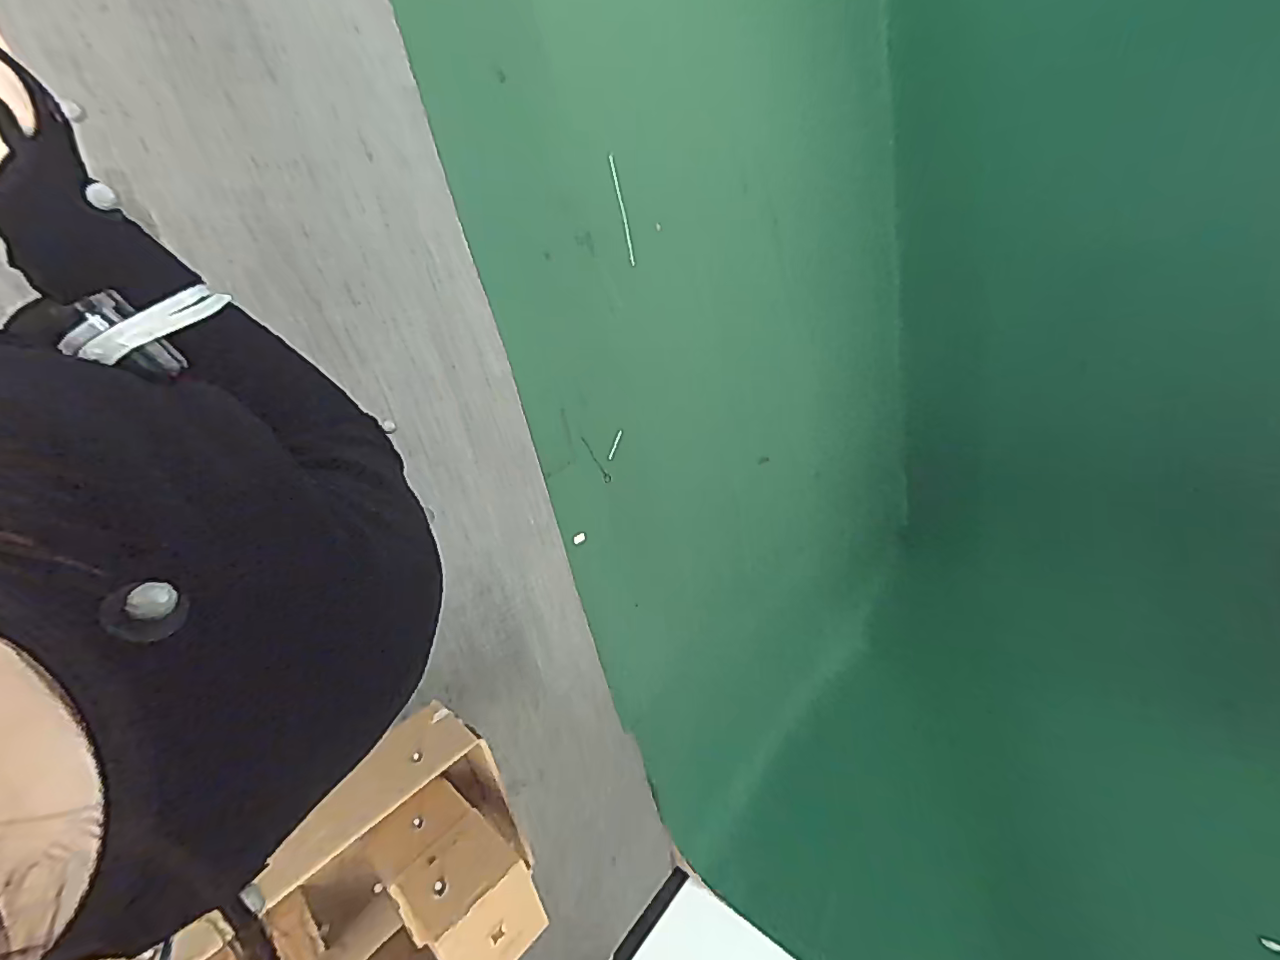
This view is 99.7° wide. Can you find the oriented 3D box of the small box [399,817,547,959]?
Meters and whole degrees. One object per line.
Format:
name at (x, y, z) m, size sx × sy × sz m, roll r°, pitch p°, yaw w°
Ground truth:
small box at (-0.295, 0.738, 0.952) m, size 0.168 × 0.176 × 0.179 m, roll -28°, pitch 116°, yaw -38°
